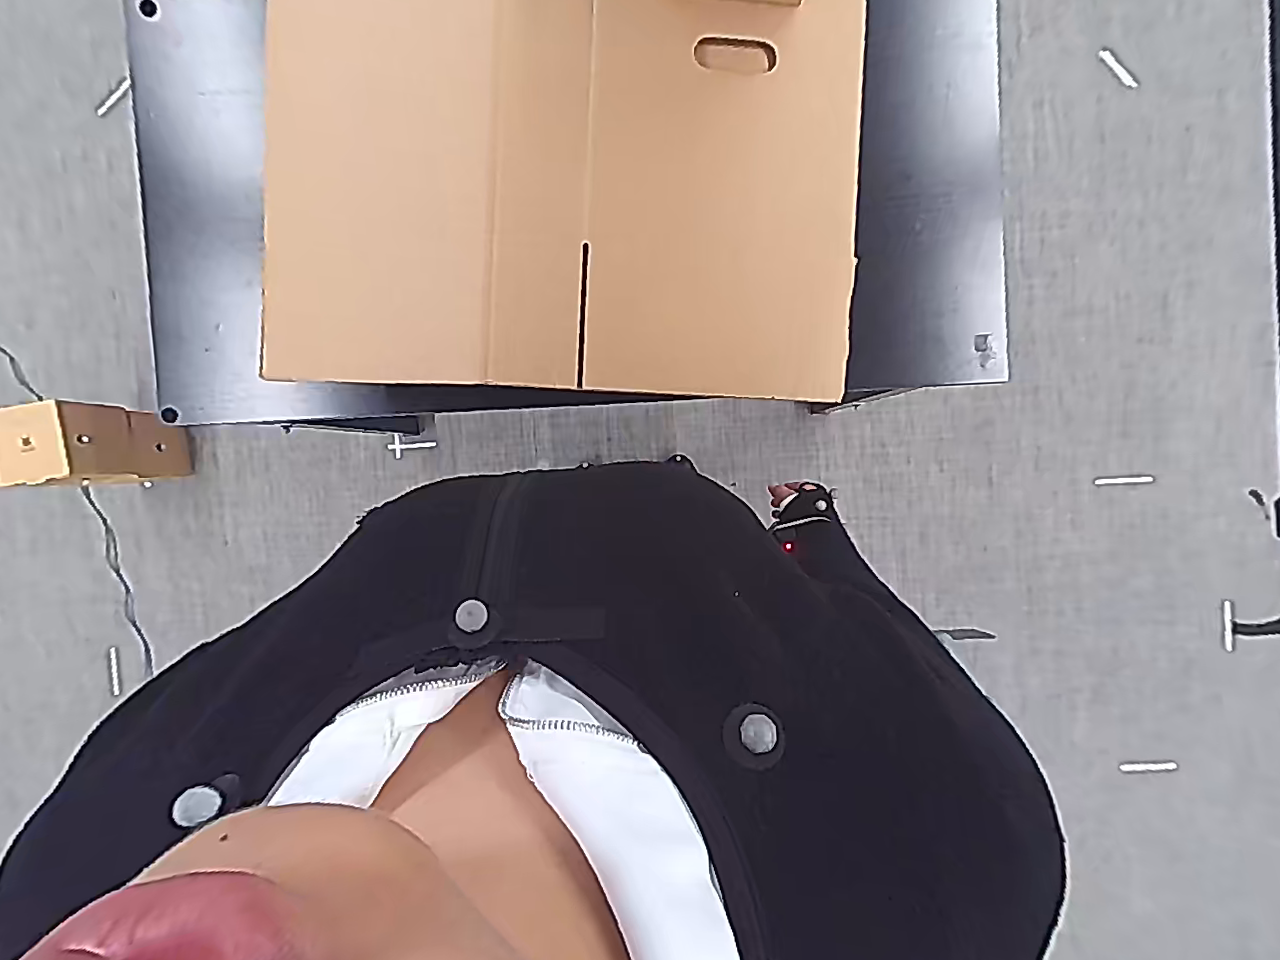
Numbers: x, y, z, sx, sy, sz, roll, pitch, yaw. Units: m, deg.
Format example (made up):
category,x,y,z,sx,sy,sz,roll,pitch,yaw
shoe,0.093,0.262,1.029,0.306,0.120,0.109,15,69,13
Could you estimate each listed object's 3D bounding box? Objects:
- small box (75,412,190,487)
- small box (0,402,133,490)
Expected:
category,x,y,z,sx,sy,sz,roll,pitch,yaw
small box,-1.351,-0.077,1.436,0.168,0.176,0.179,-7,92,1
small box,-1.356,-0.078,1.274,0.168,0.176,0.179,-10,91,0
